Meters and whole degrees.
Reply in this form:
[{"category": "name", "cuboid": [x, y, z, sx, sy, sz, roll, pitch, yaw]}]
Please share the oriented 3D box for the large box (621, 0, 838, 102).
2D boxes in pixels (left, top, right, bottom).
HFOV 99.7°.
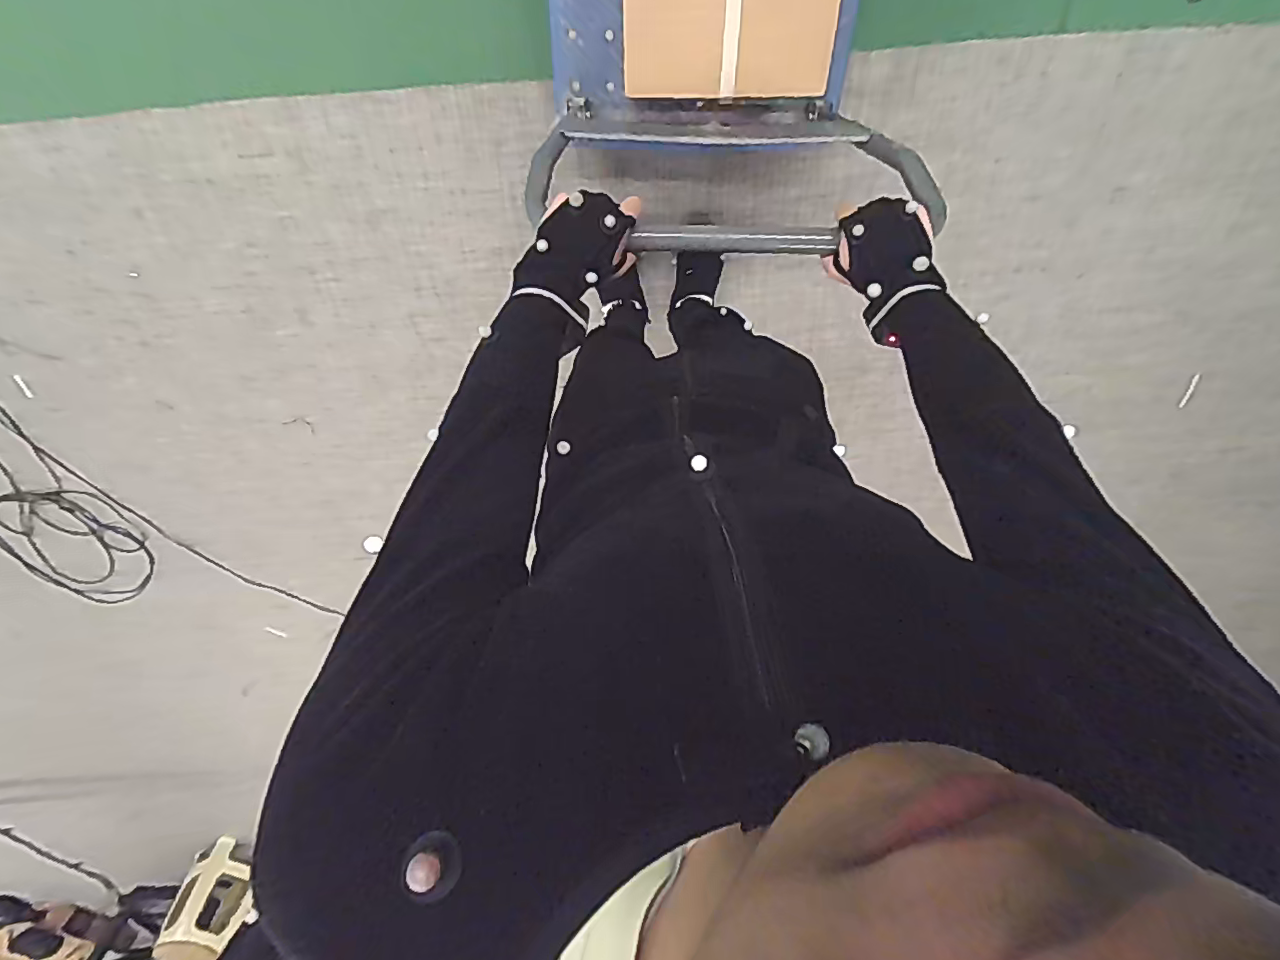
[{"category": "large box", "cuboid": [0.133, -0.843, 0.848, 0.320, 0.320, 0.408, 0, 126, 0]}]
